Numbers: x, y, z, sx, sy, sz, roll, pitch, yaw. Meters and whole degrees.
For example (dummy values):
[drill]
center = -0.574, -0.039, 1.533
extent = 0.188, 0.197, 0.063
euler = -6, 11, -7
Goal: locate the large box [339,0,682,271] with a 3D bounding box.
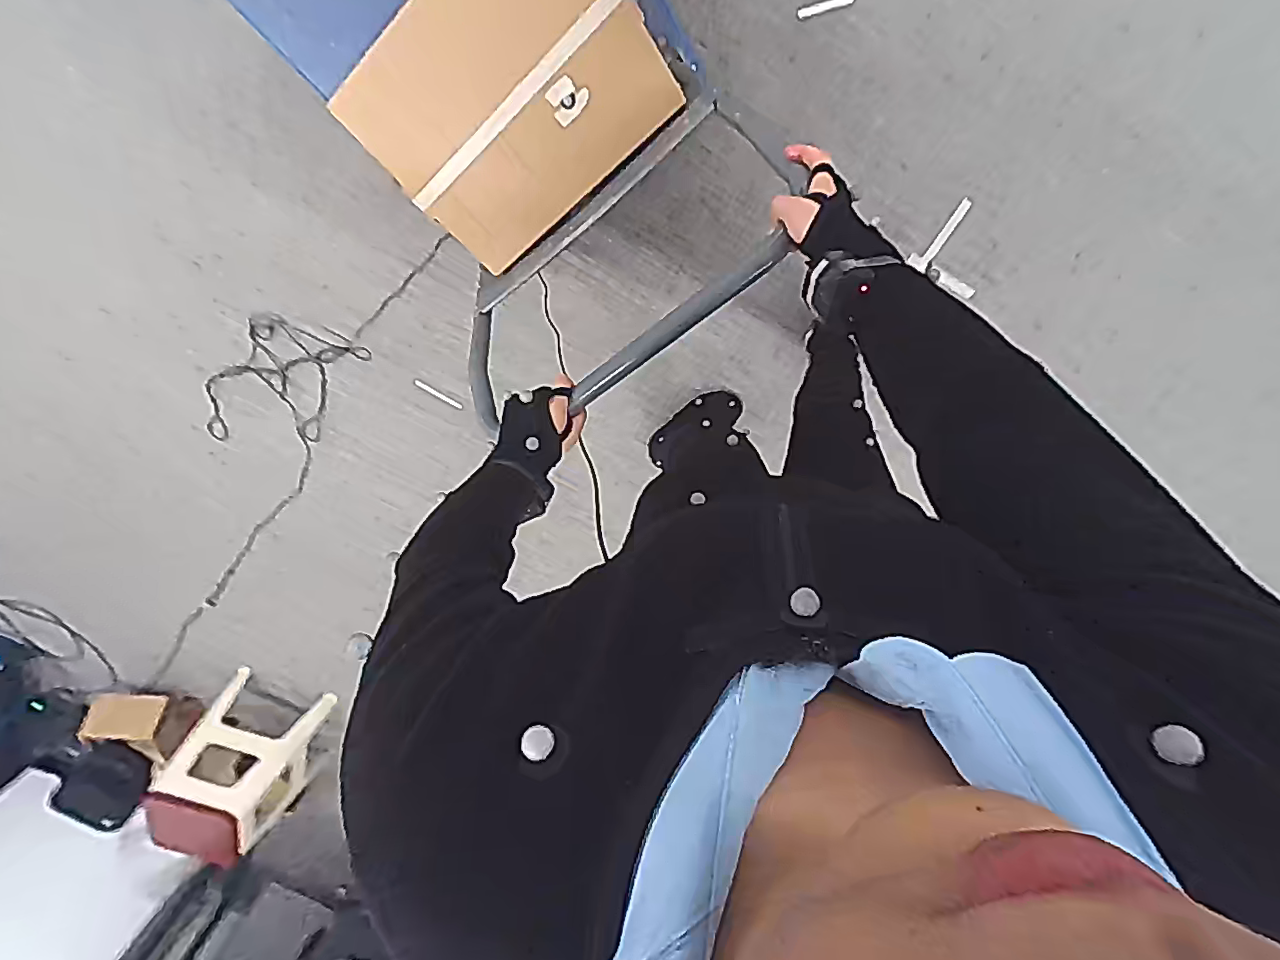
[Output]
[large box]
center = -0.200, -0.639, 0.886
extent = 0.408, 0.320, 0.320
euler = -35, 128, 20
